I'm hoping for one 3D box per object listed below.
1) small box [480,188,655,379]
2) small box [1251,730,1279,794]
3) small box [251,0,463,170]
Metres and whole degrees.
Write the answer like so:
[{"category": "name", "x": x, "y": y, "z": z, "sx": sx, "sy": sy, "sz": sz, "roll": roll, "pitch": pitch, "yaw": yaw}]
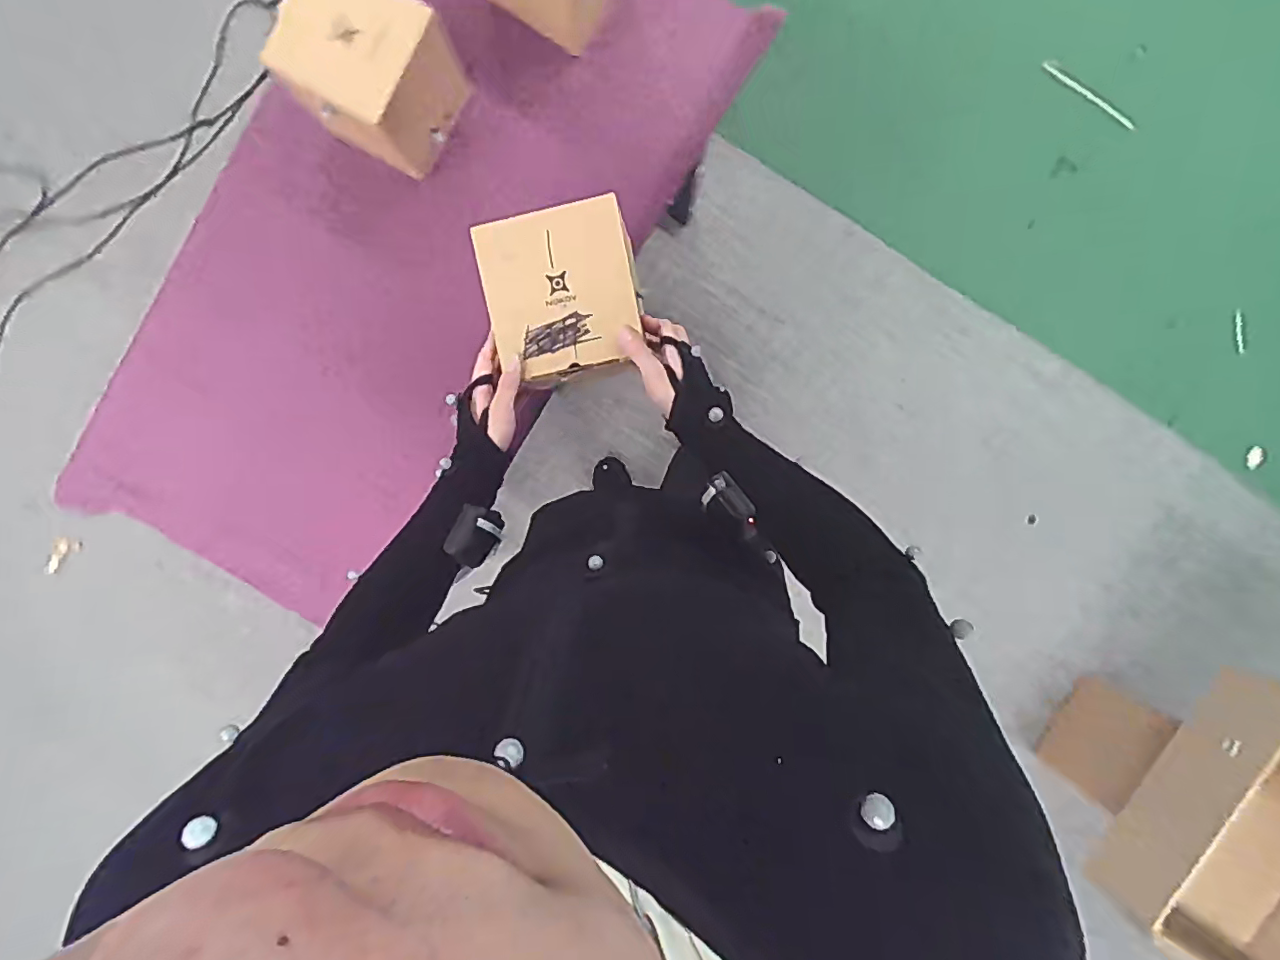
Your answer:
[{"category": "small box", "x": -0.075, "y": -0.224, "z": 0.666, "sx": 0.168, "sy": 0.176, "sz": 0.179, "roll": -9, "pitch": 96, "yaw": 4}, {"category": "small box", "x": 1.532, "y": 0.664, "z": 1.179, "sx": 0.179, "sy": 0.176, "sz": 0.168, "roll": 34, "pitch": 93, "yaw": -3}, {"category": "small box", "x": -0.387, "y": -0.586, "z": 0.770, "sx": 0.179, "sy": 0.176, "sz": 0.168, "roll": 29, "pitch": 94, "yaw": -3}]
